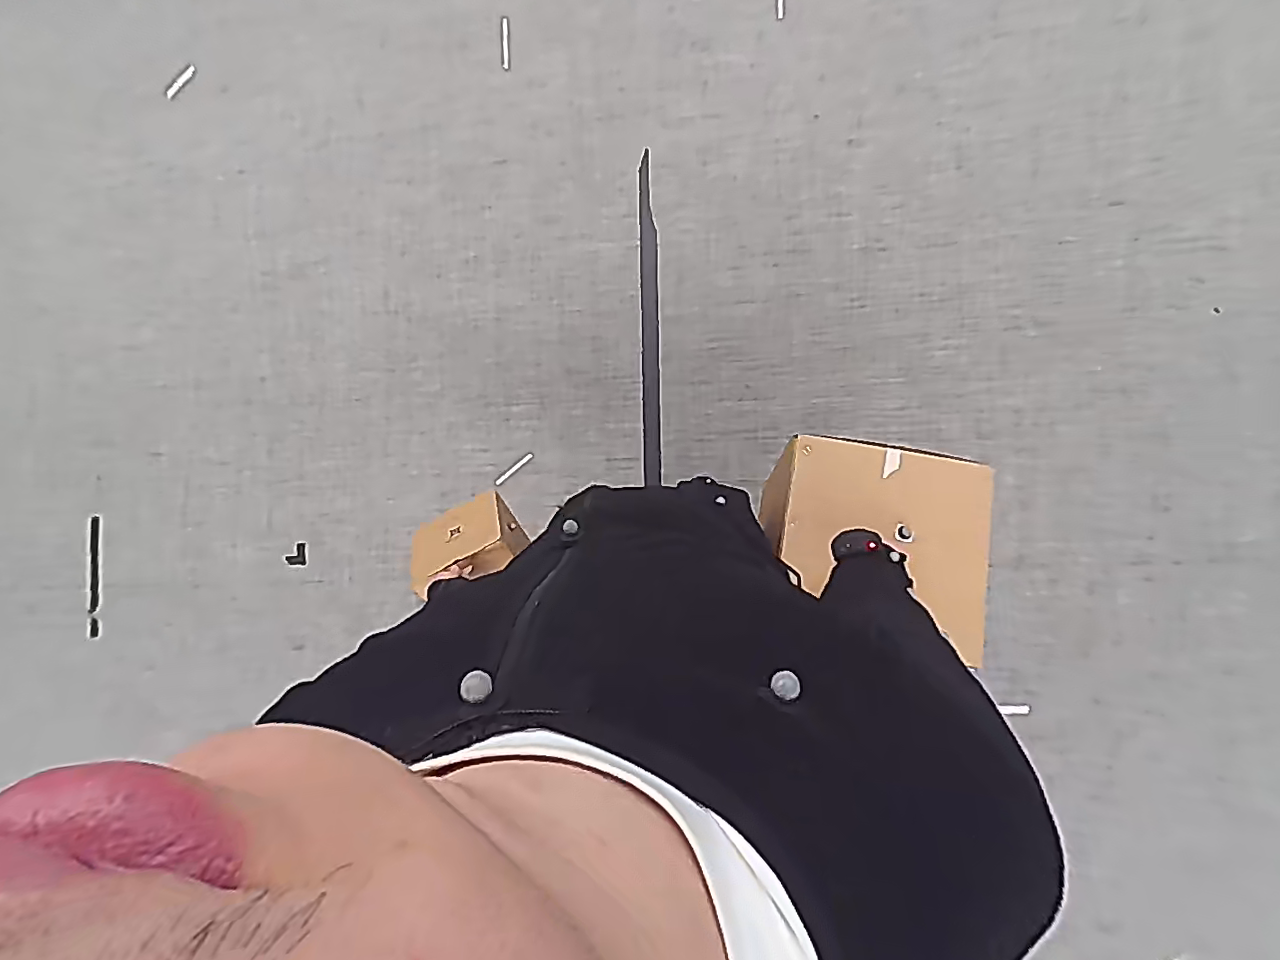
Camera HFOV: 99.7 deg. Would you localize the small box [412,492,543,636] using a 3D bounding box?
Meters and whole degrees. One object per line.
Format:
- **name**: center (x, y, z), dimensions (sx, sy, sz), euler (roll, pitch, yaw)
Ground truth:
- **small box**: center (-0.293, 0.160, 0.992), dimensions (0.168, 0.179, 0.176), euler (-27, 124, -4)
